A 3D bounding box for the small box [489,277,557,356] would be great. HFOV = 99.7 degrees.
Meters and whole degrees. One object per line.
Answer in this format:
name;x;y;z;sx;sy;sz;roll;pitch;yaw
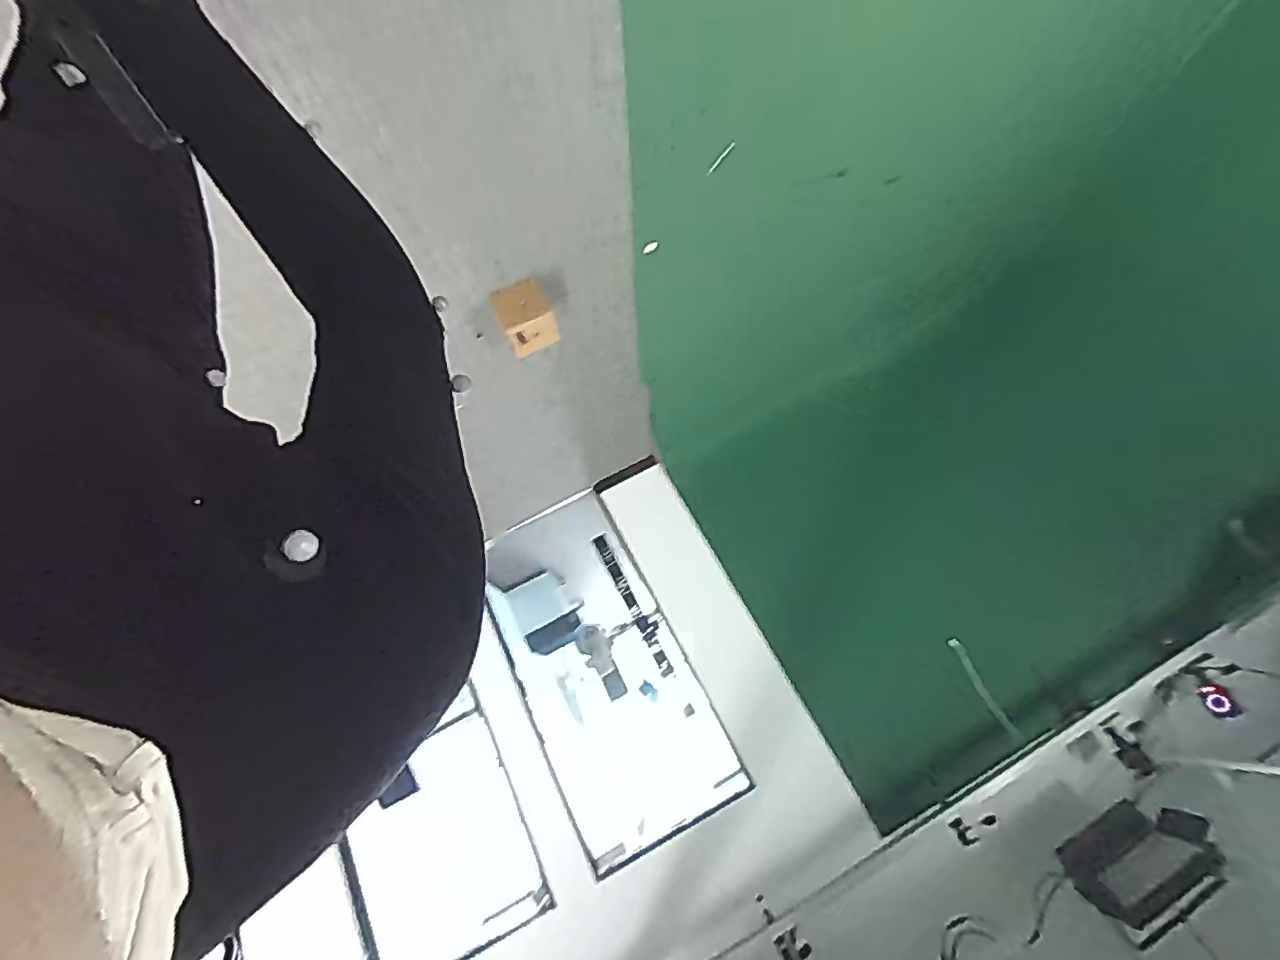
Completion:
small box;-0.413;-0.573;1.893;0.179;0.176;0.168;-28;161;-9
